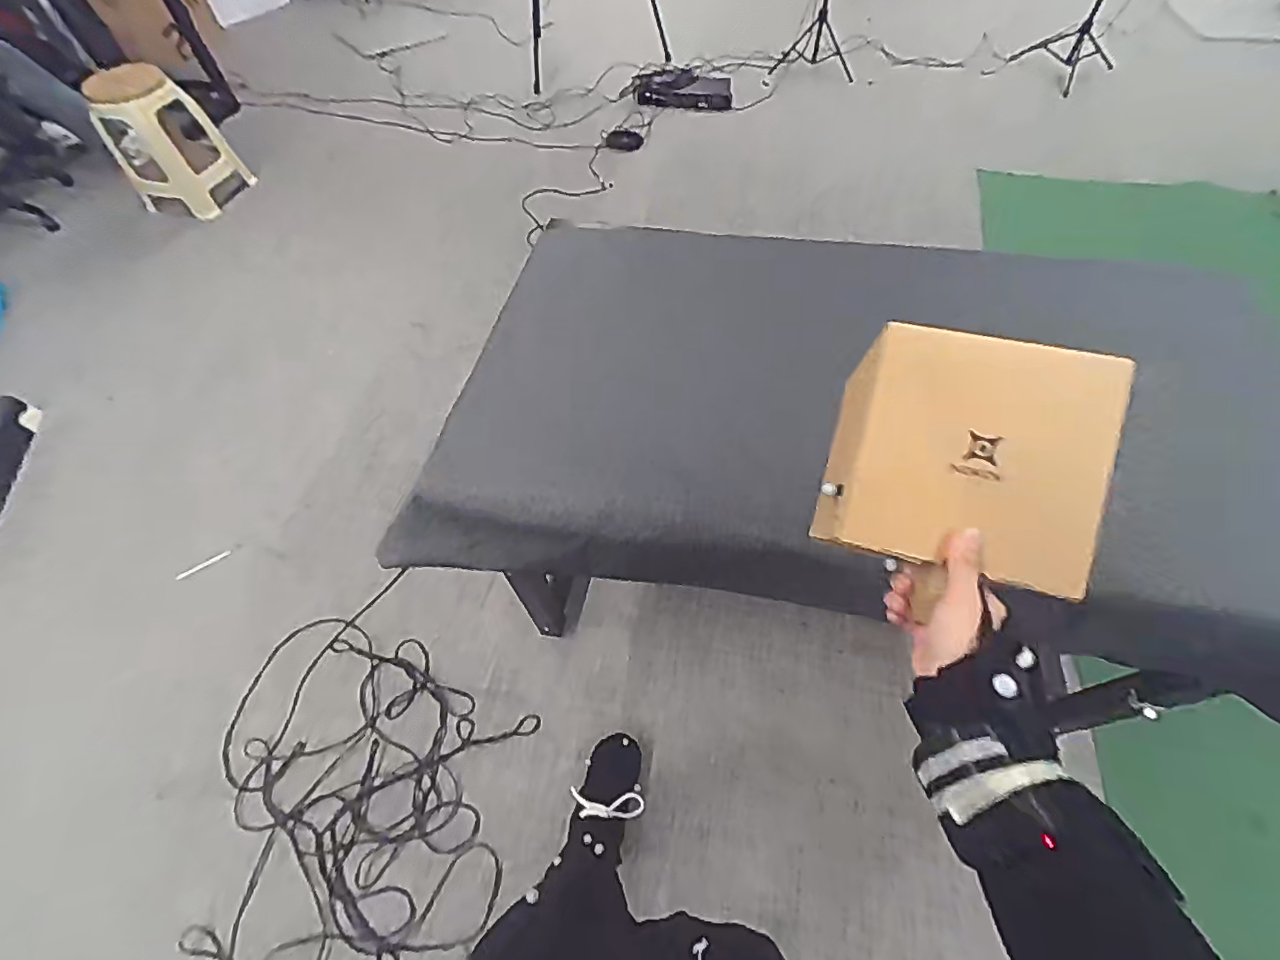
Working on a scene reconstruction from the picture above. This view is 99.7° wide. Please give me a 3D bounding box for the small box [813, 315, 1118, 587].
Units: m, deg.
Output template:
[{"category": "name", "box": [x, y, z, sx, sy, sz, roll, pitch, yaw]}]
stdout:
[{"category": "small box", "box": [0.259, -0.019, 0.475, 0.168, 0.176, 0.179, 13, 87, 12]}]
